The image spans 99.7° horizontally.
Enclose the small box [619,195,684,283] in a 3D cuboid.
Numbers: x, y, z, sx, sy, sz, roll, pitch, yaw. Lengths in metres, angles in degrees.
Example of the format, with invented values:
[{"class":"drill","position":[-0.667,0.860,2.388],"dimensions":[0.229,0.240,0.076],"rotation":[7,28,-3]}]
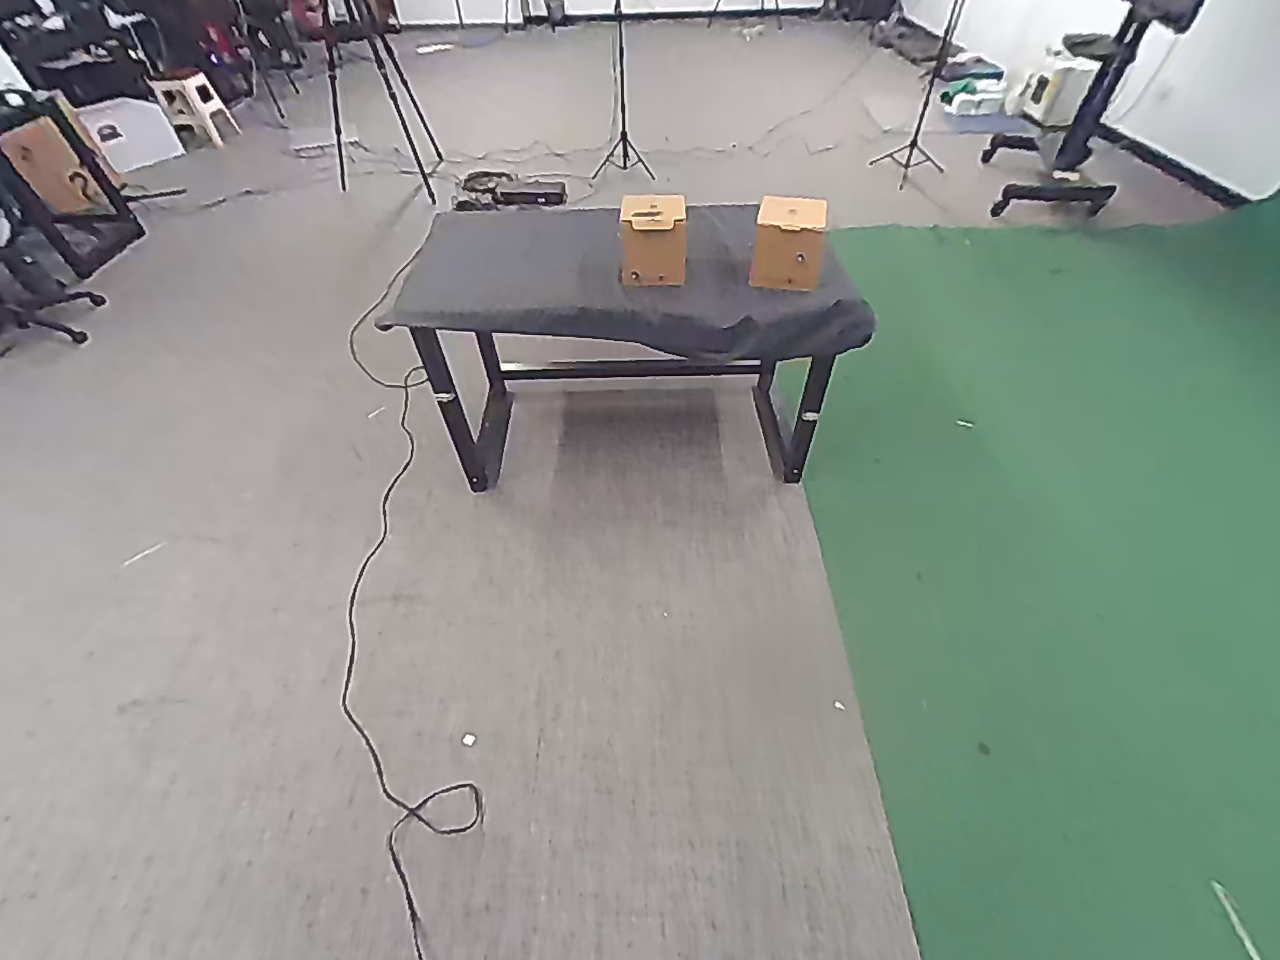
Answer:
[{"class":"small box","position":[0.034,-0.641,1.444],"dimensions":[0.168,0.176,0.179],"rotation":[0,47,2]}]

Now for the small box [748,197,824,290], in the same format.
[{"class":"small box","position":[0.379,-0.618,1.415],"dimensions":[0.168,0.176,0.179],"rotation":[9,47,9]}]
